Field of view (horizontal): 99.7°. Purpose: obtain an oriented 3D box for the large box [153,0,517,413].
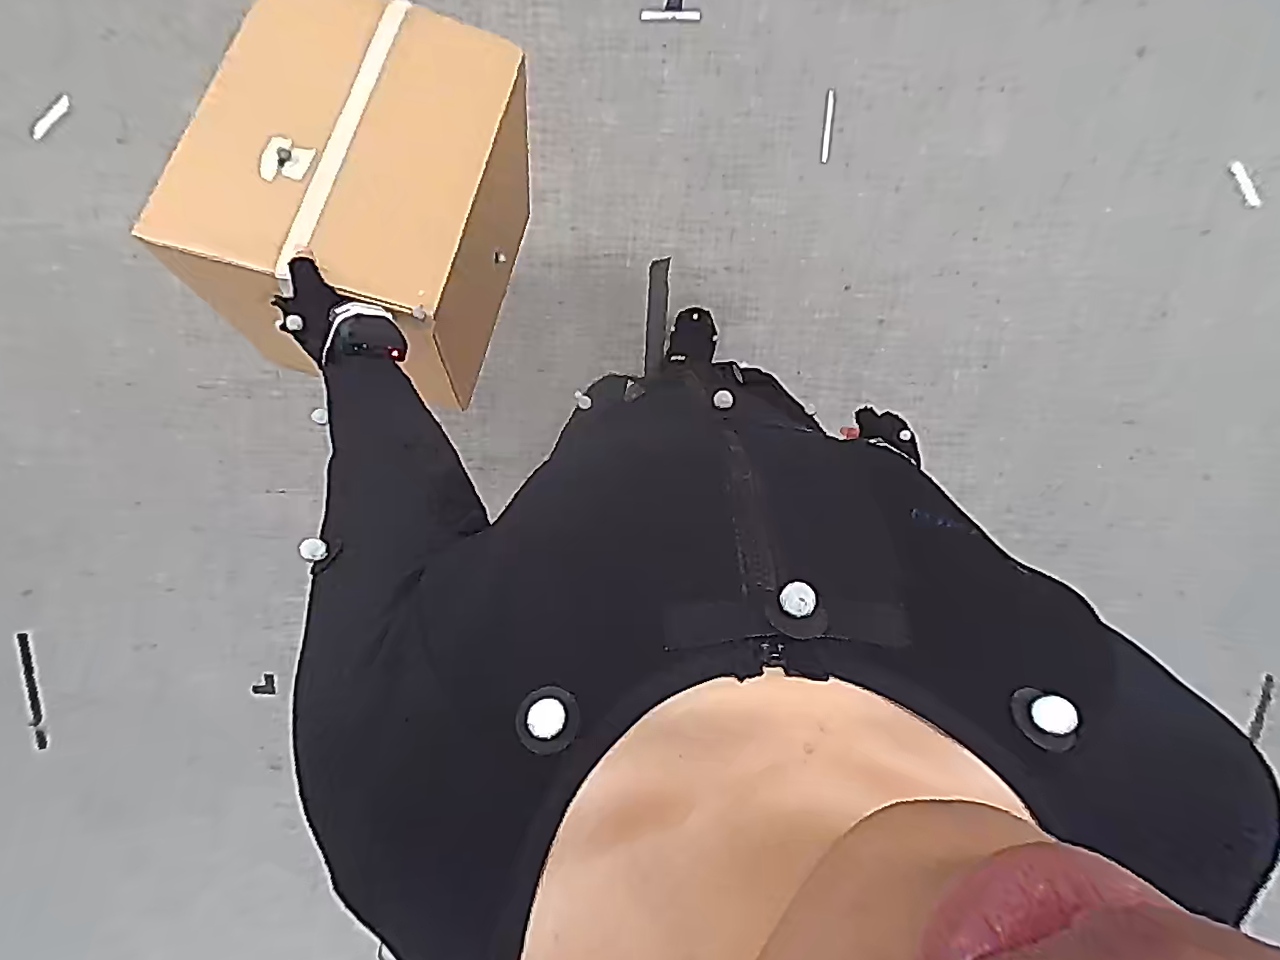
[{"bbox_3d":[-0.377,-0.365,0.798,0.320,0.320,0.408,13,74,-6],"label":"large box"}]
